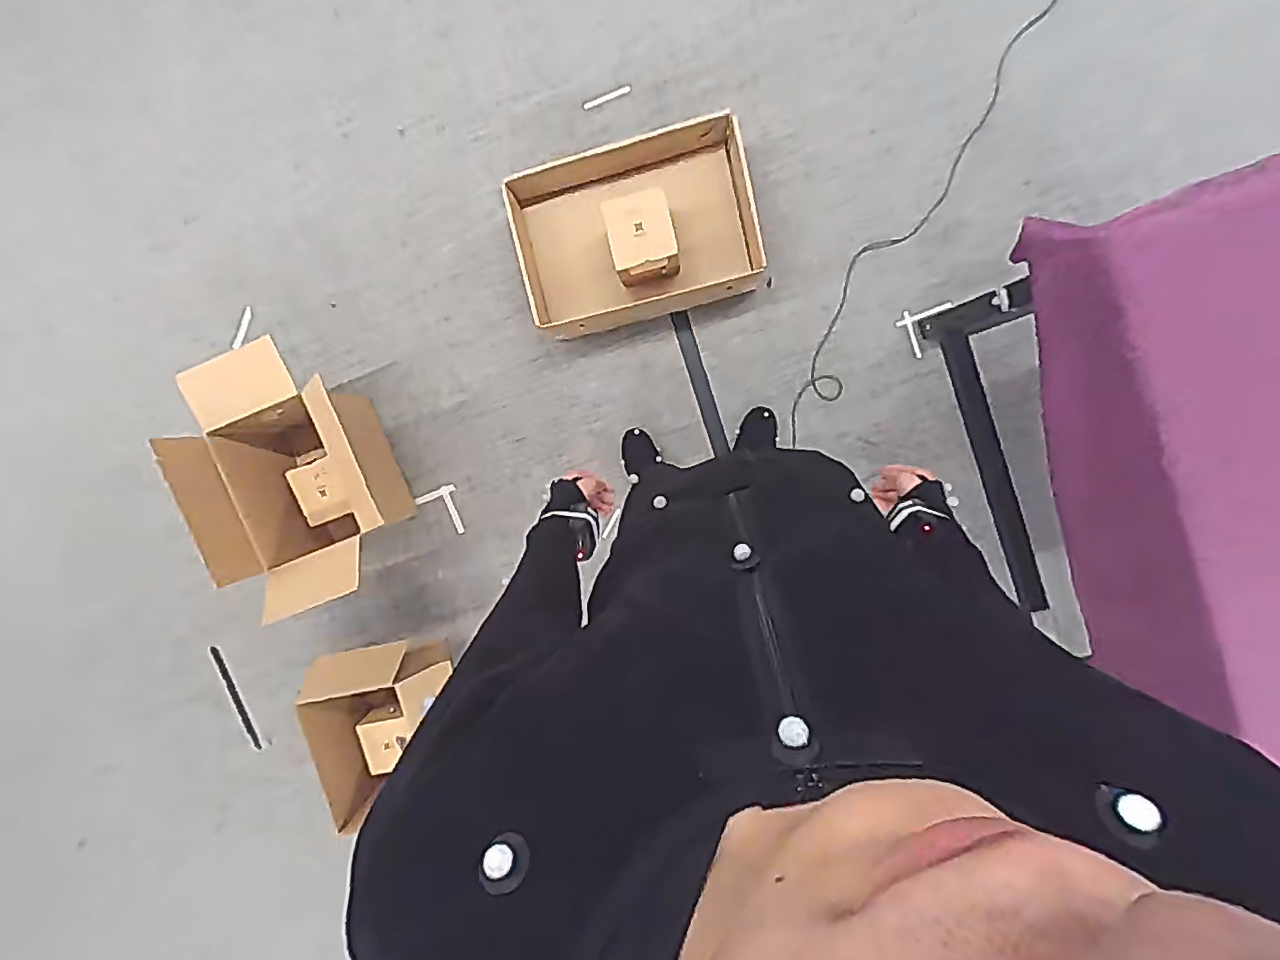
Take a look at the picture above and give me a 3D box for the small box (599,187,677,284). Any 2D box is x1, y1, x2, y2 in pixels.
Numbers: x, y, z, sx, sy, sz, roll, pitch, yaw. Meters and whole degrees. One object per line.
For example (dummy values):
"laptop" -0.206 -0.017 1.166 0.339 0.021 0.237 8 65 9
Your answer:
"small box" 0.002 -0.633 1.430 0.168 0.176 0.179 -13 95 6
